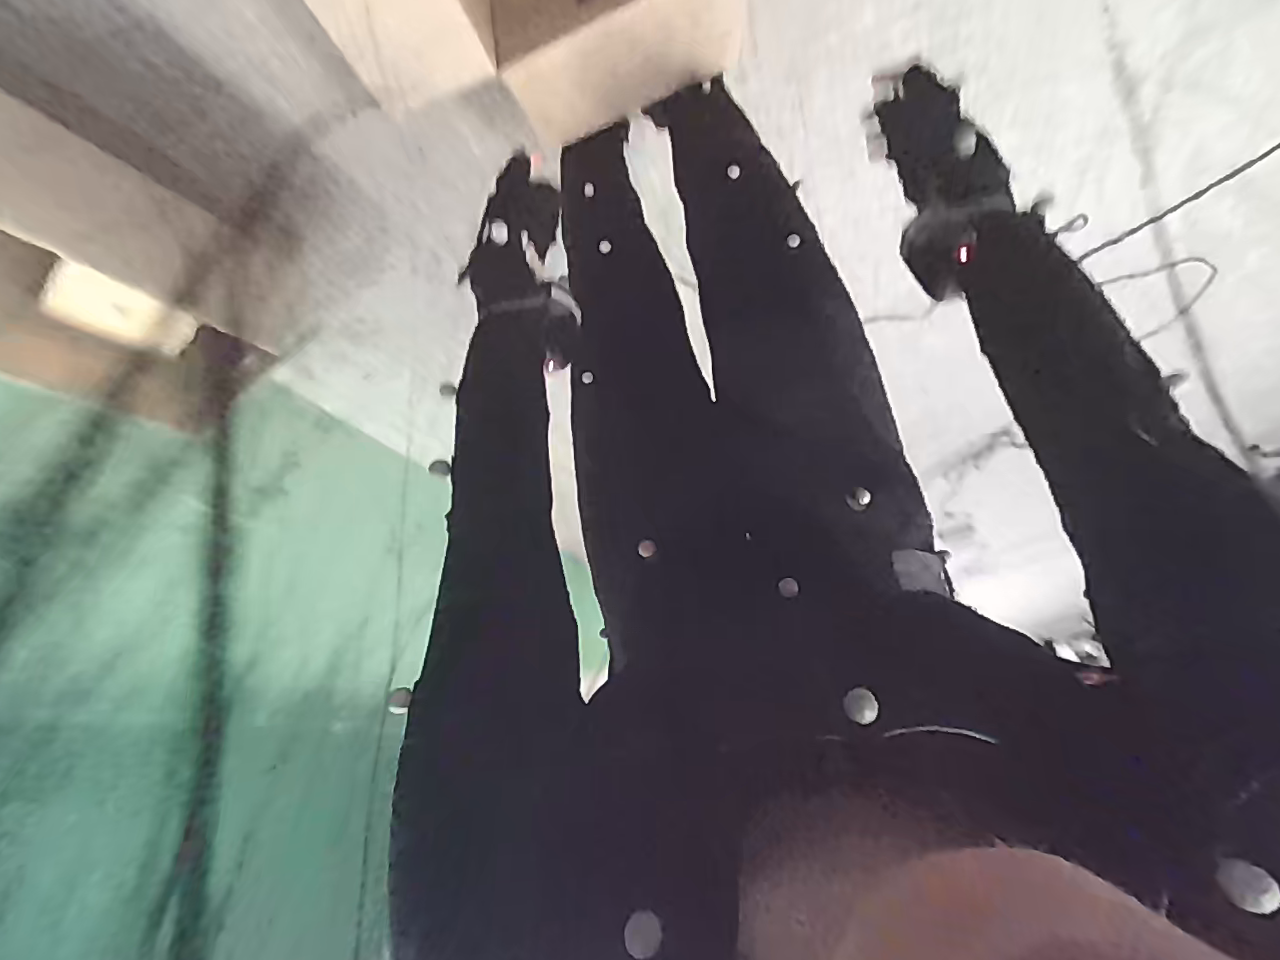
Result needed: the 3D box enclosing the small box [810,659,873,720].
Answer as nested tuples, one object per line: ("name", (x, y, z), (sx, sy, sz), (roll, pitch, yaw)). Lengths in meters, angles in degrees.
("small box", (0.723, 0.754, 1.948), (0.168, 0.176, 0.179), (-20, 149, 15))
